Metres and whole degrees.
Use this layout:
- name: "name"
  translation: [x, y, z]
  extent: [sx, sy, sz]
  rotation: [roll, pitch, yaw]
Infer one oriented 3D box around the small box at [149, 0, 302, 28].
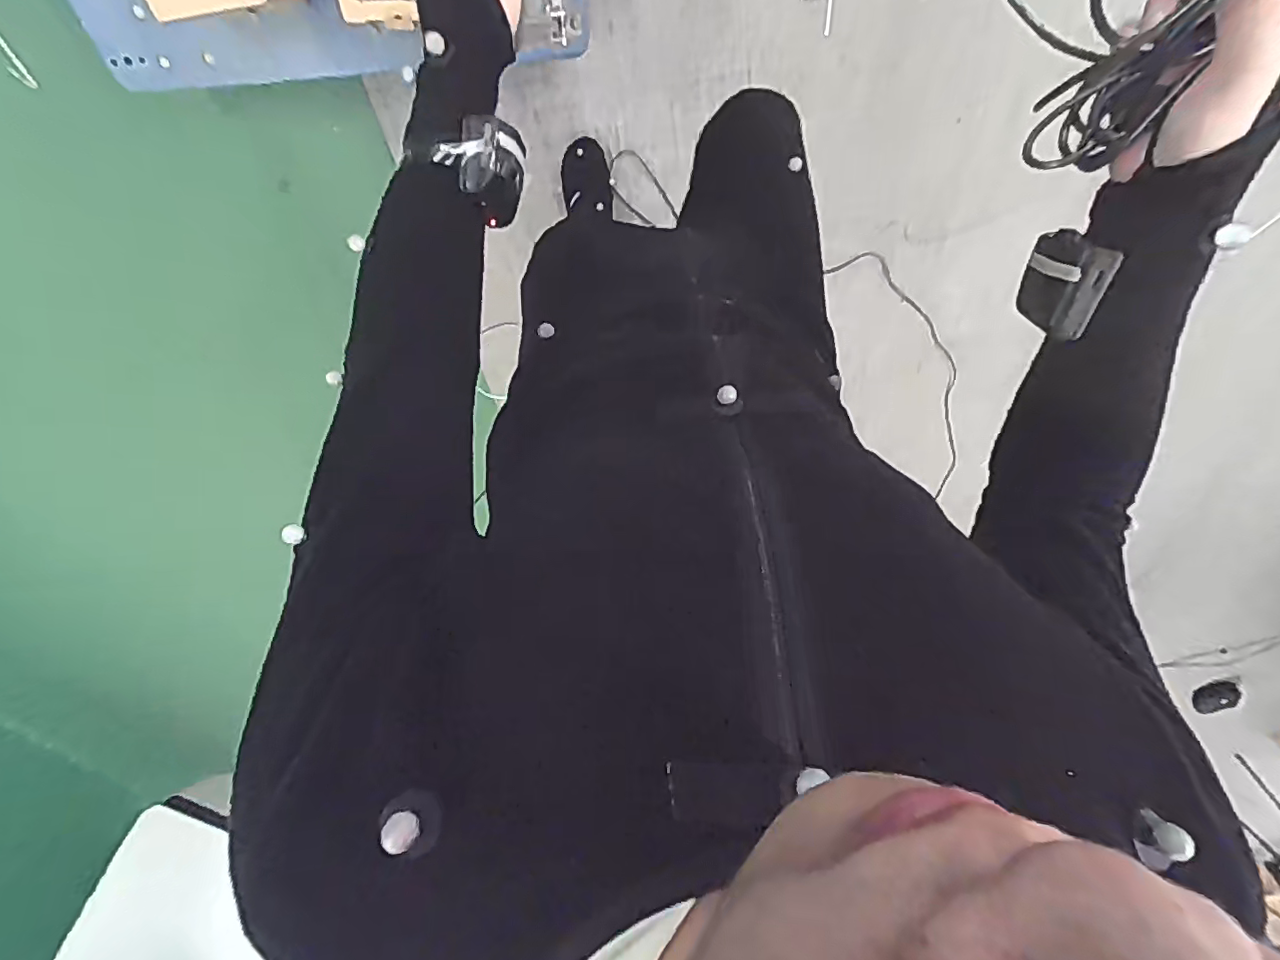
- name: "small box"
  translation: [-0.653, -0.810, 0.824]
  extent: [0.179, 0.176, 0.168]
  rotation: [-8, 130, 2]
